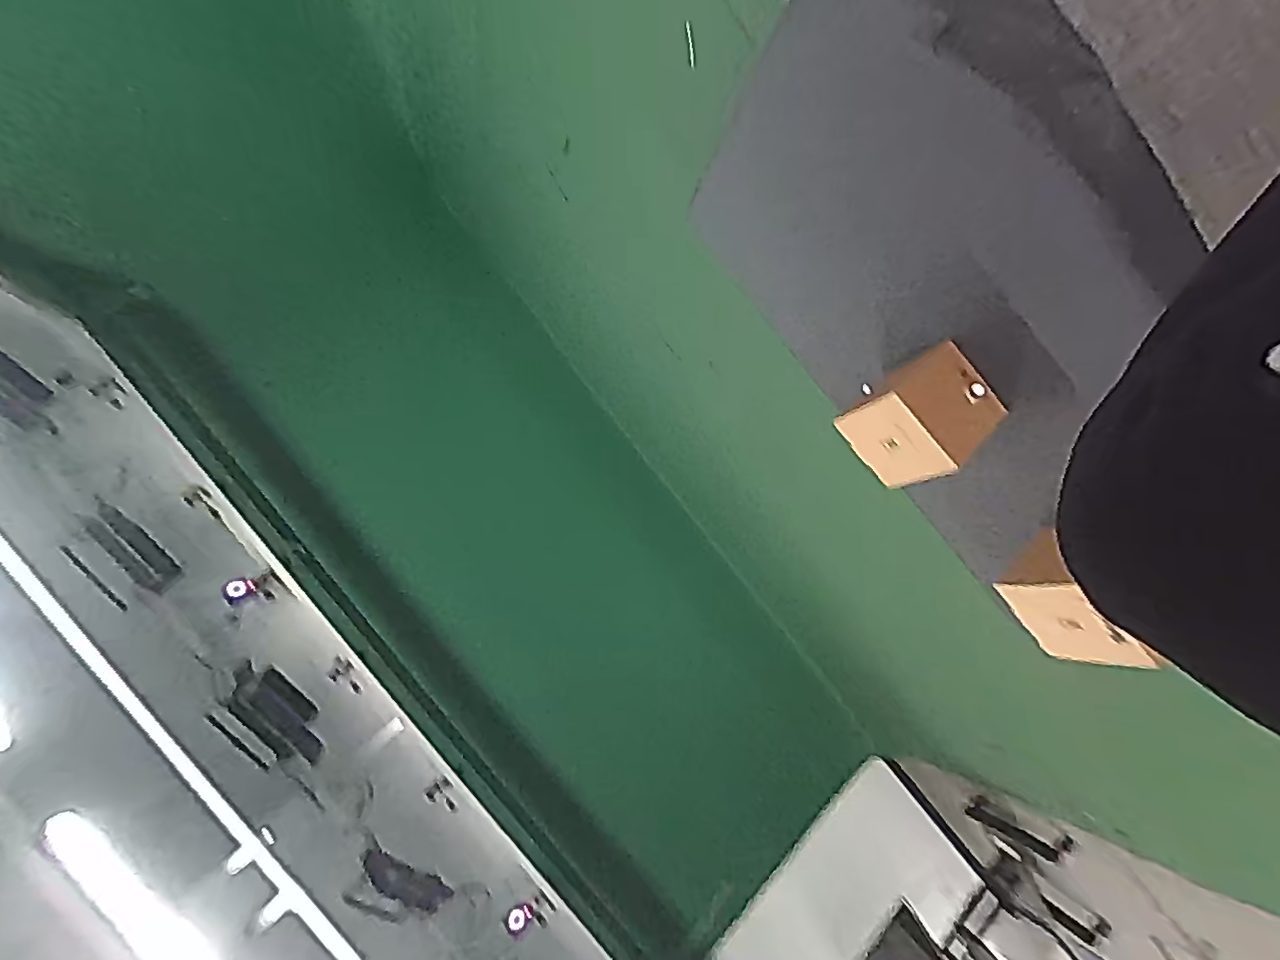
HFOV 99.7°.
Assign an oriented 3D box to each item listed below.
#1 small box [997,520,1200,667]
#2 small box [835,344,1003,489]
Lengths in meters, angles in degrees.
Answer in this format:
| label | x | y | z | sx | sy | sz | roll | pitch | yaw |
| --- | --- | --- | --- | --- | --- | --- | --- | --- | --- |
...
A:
| label | x | y | z | sx | sy | sz | roll | pitch | yaw |
| --- | --- | --- | --- | --- | --- | --- | --- | --- | --- |
| small box | 0.775 | 0.186 | 0.923 | 0.168 | 0.176 | 0.179 | 49 | 163 | 0 |
| small box | 0.503 | -0.111 | 0.983 | 0.168 | 0.176 | 0.179 | 48 | 161 | 0 |
